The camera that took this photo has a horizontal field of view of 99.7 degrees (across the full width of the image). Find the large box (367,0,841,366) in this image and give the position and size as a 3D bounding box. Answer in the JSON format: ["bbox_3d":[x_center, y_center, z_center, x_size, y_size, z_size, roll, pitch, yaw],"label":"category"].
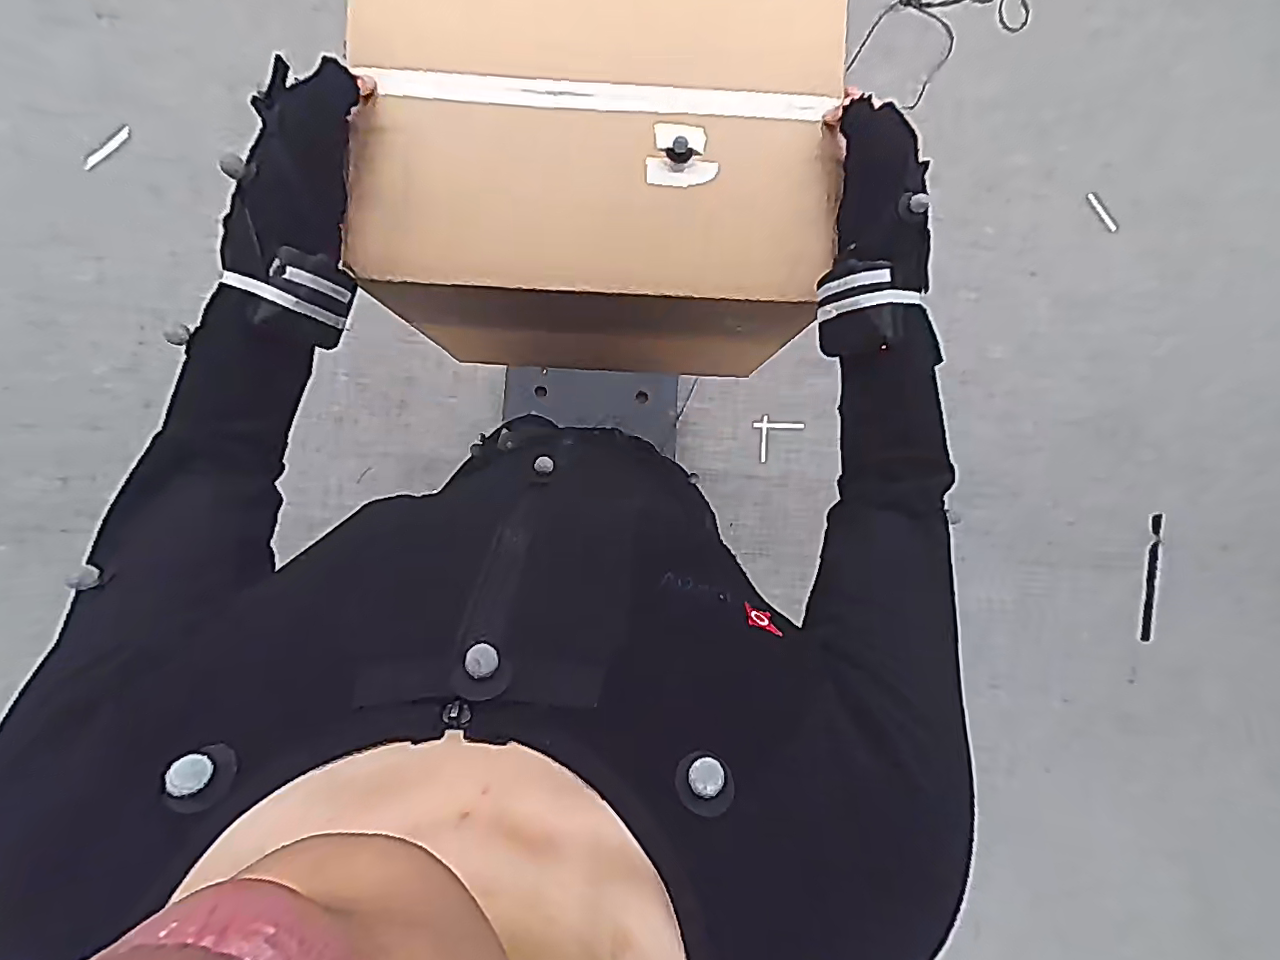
[{"bbox_3d":[-0.034,-0.317,0.607,0.408,0.320,0.320,2,90,-2],"label":"large box"}]
